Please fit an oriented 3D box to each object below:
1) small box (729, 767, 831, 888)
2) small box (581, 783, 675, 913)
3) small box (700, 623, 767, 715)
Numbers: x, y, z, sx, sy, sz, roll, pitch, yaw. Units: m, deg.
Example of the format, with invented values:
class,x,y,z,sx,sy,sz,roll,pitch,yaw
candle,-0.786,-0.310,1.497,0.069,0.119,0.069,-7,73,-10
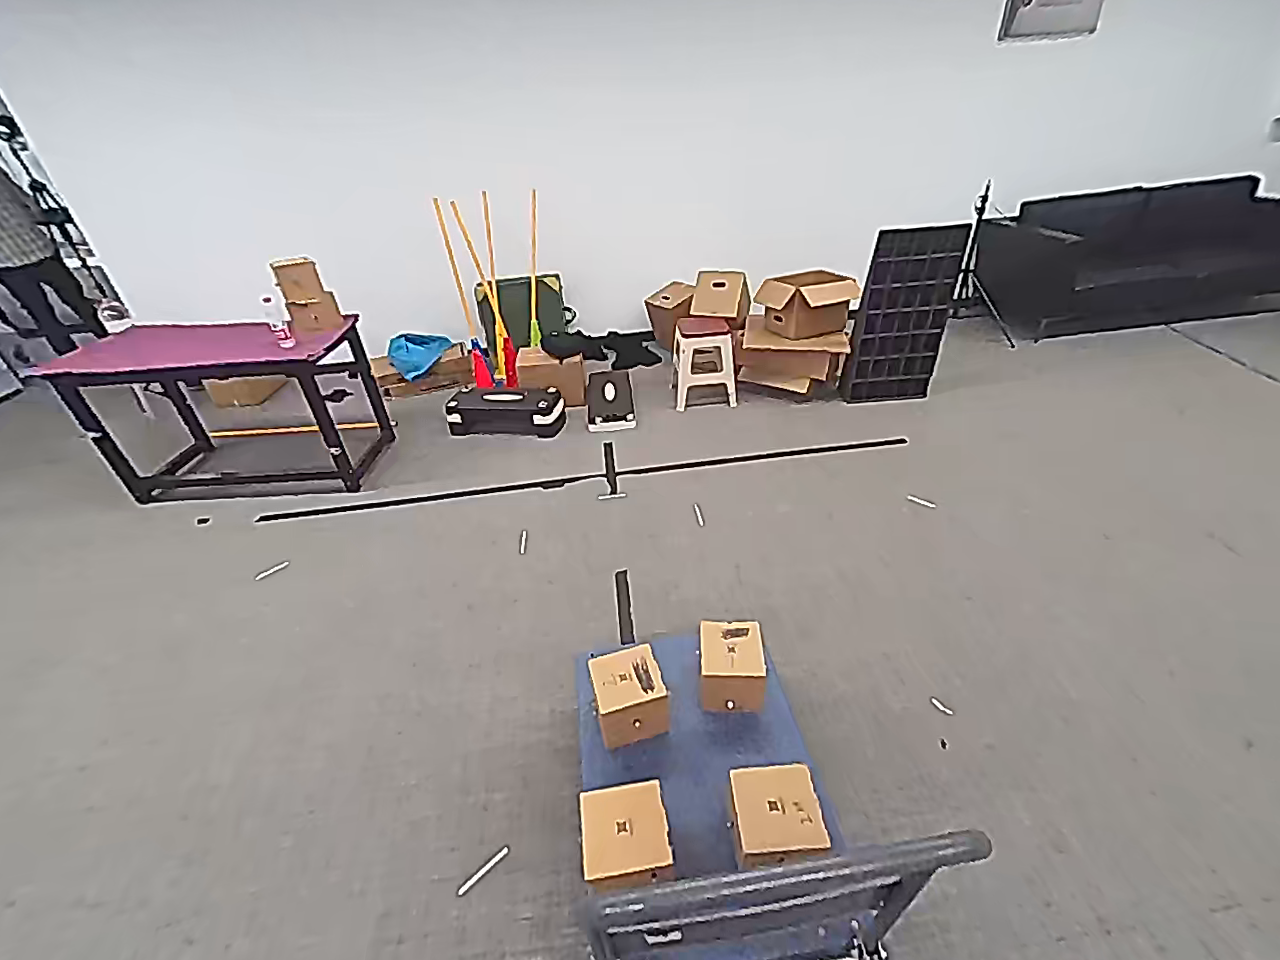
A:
class,x,y,z,sx,sy,sz,roll,pitch,yaw
small box,0.290,0.744,1.157,0.179,0.176,0.168,-4,35,0
small box,-0.026,0.779,1.143,0.179,0.176,0.168,-7,34,-6
small box,0.251,0.518,1.487,0.168,0.176,0.179,-1,36,5
